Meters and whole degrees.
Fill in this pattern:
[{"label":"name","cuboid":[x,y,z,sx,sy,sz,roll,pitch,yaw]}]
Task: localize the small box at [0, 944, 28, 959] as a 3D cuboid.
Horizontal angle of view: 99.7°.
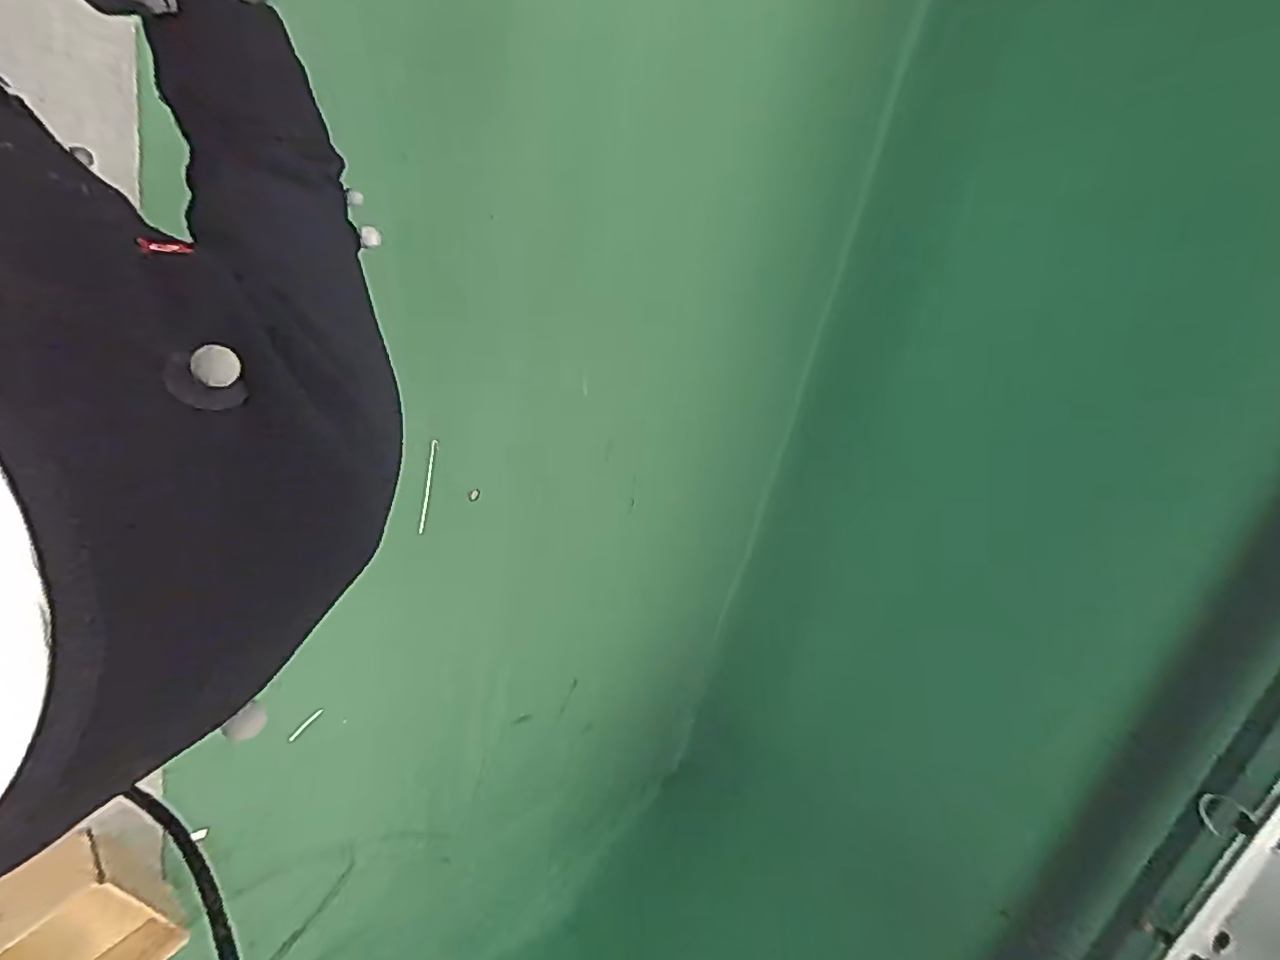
[{"label":"small box","cuboid":[-1.468,1.184,1.188,0.168,0.176,0.179,-28,133,-41]}]
